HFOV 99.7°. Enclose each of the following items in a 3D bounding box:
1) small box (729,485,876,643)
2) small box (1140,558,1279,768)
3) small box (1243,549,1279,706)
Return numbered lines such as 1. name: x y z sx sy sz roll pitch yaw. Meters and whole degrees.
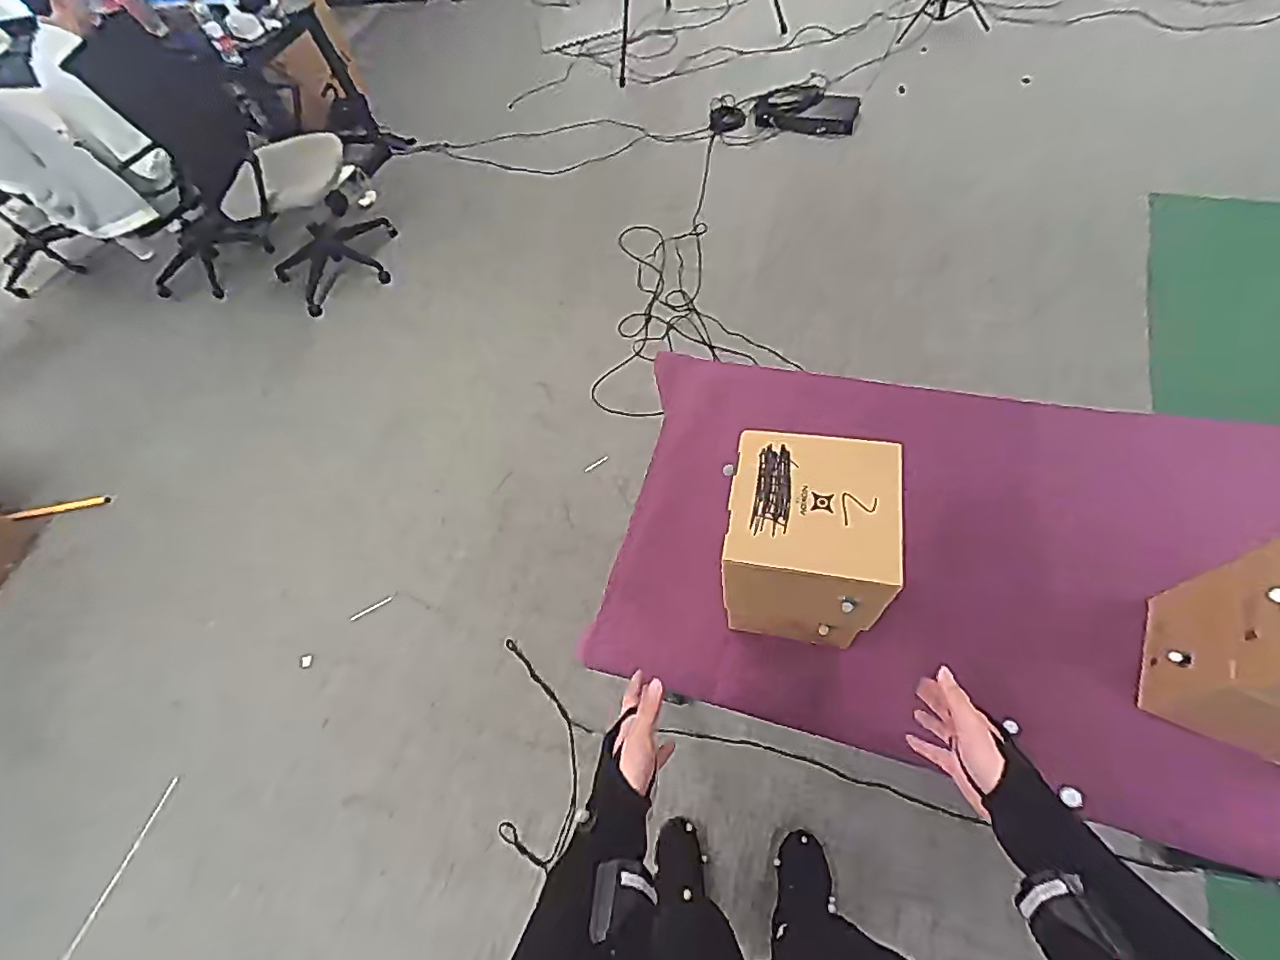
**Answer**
1. small box: 0.229 0.127 0.783 0.179 0.176 0.168 8 62 15
2. small box: 0.744 0.223 0.634 0.179 0.176 0.168 23 67 21
3. small box: 0.718 0.144 0.494 0.179 0.176 0.168 19 66 21
